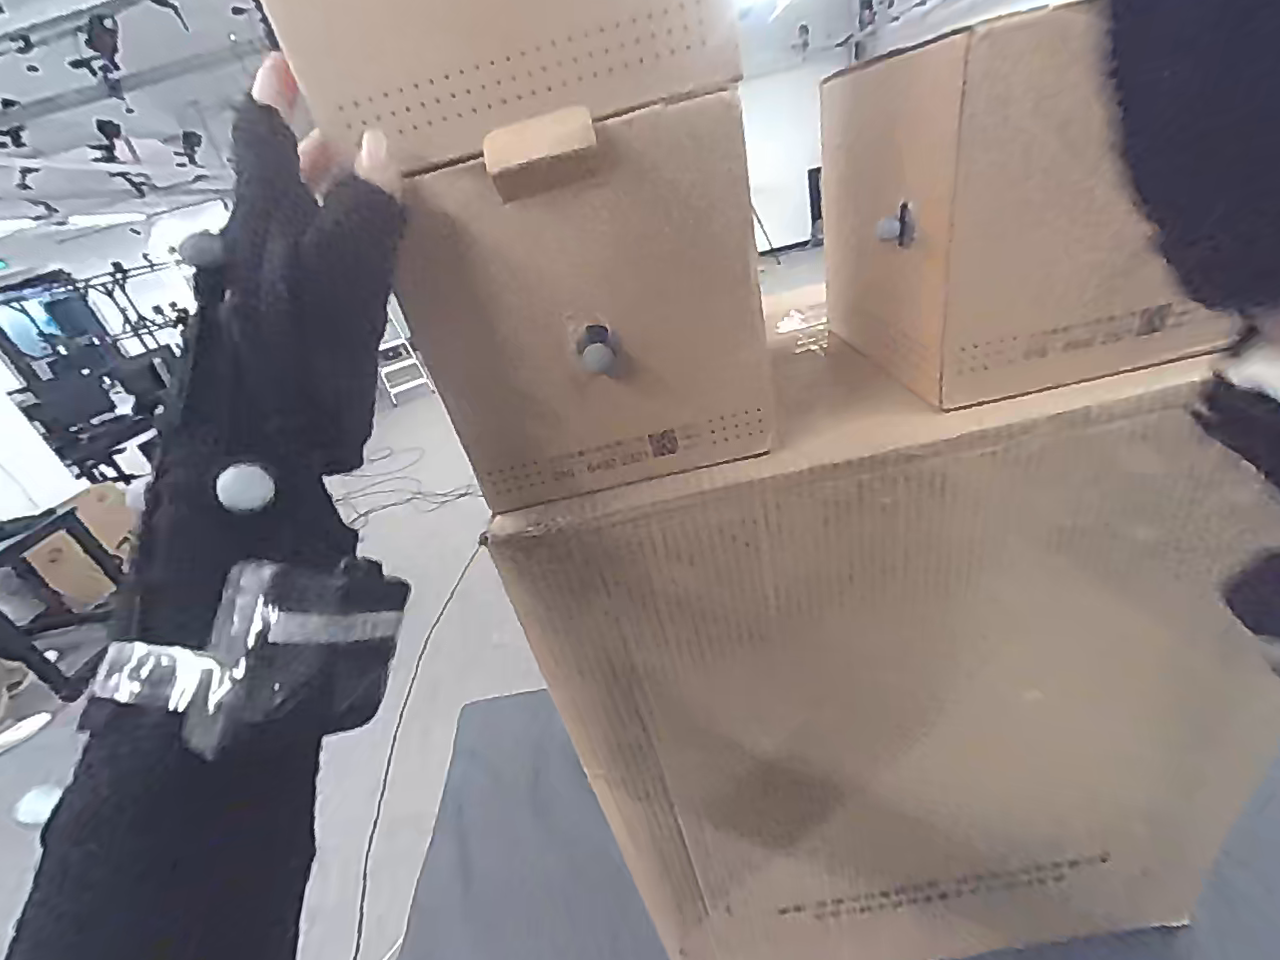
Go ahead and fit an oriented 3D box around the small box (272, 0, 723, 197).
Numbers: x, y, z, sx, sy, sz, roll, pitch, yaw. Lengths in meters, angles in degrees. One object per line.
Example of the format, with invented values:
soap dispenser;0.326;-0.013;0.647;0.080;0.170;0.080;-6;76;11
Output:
small box;-0.061;-0.250;0.257;0.179;0.176;0.168;-12;30;5

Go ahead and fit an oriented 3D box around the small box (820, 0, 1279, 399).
small box;0.216;-0.156;0.316;0.168;0.176;0.179;-10;29;2
